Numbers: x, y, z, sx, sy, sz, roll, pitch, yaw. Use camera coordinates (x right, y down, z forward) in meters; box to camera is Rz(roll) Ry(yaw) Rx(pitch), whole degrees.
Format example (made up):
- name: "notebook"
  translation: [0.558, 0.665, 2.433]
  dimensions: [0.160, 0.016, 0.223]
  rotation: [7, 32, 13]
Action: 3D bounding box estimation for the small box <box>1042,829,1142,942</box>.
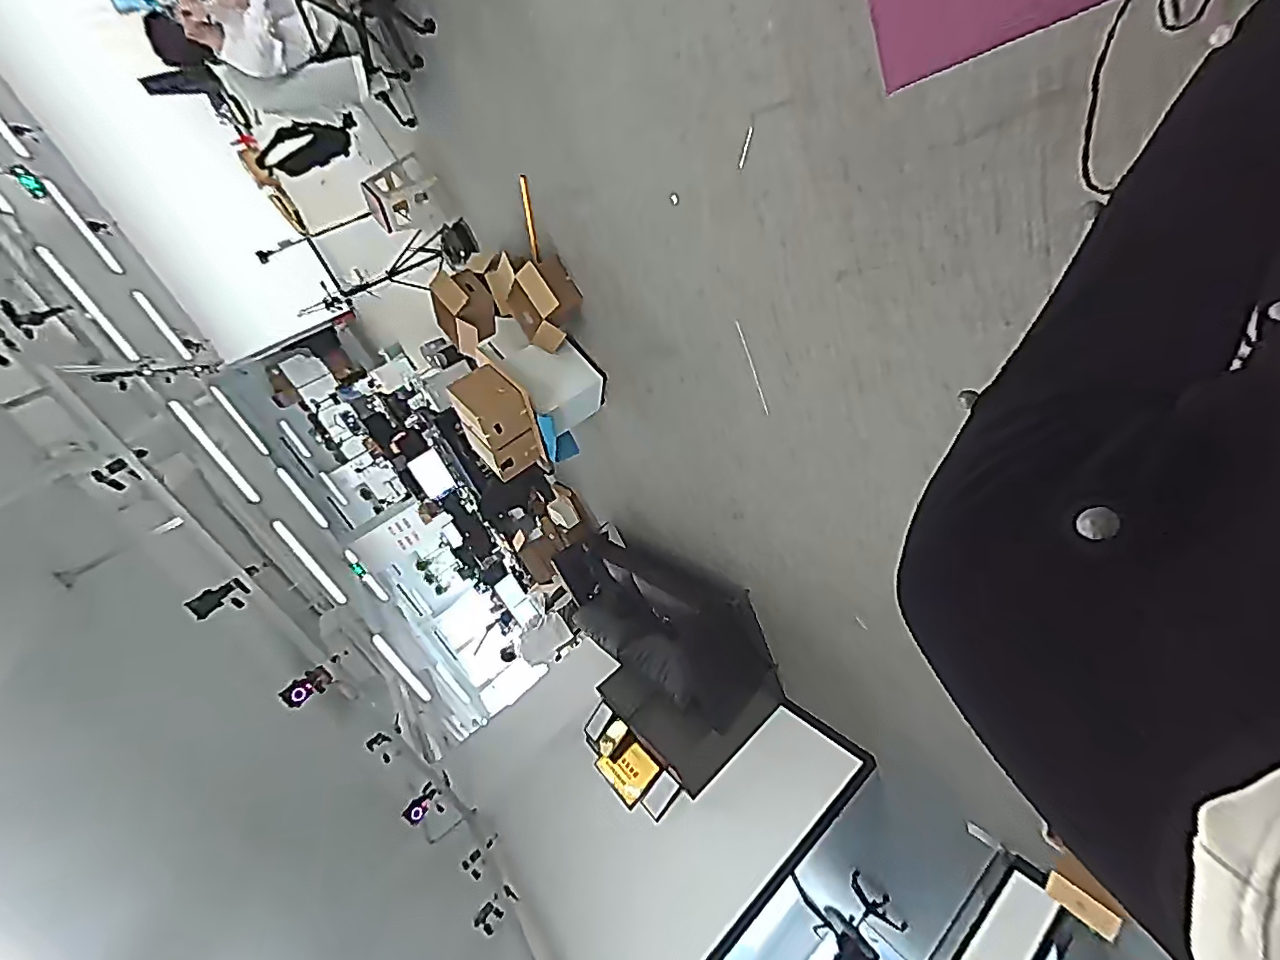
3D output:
- name: "small box"
  translation: [1.301, 1.163, 1.560]
  dimensions: [0.168, 0.176, 0.179]
  rotation: [27, 145, 48]
